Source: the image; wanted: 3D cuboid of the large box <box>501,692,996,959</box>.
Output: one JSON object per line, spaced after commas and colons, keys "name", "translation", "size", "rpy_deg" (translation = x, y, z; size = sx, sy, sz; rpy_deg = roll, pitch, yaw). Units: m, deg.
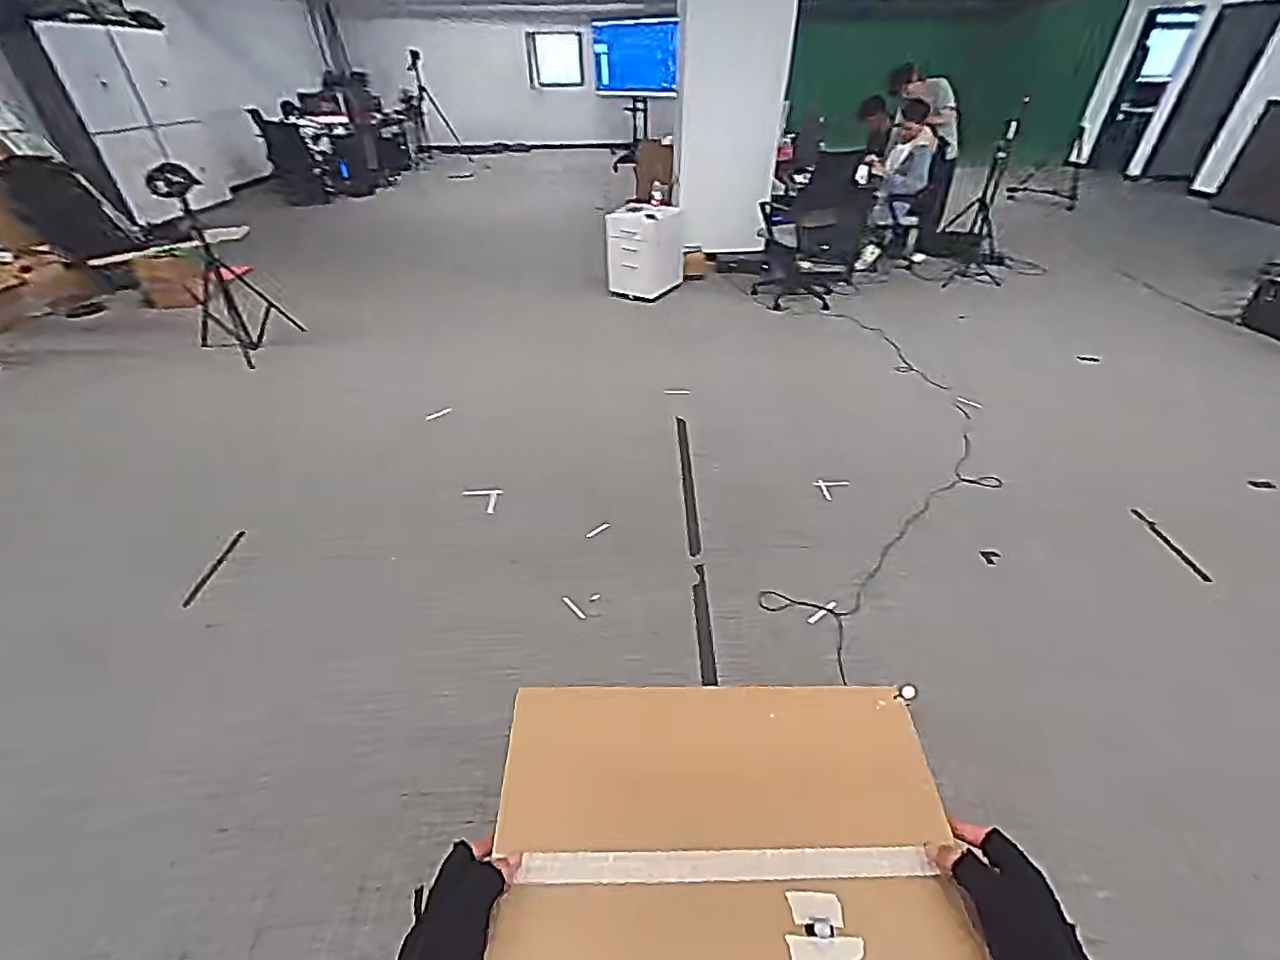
{"name": "large box", "translation": [0.082, 0.443, 0.578], "size": [0.408, 0.320, 0.320], "rpy_deg": [1, 46, -1]}
